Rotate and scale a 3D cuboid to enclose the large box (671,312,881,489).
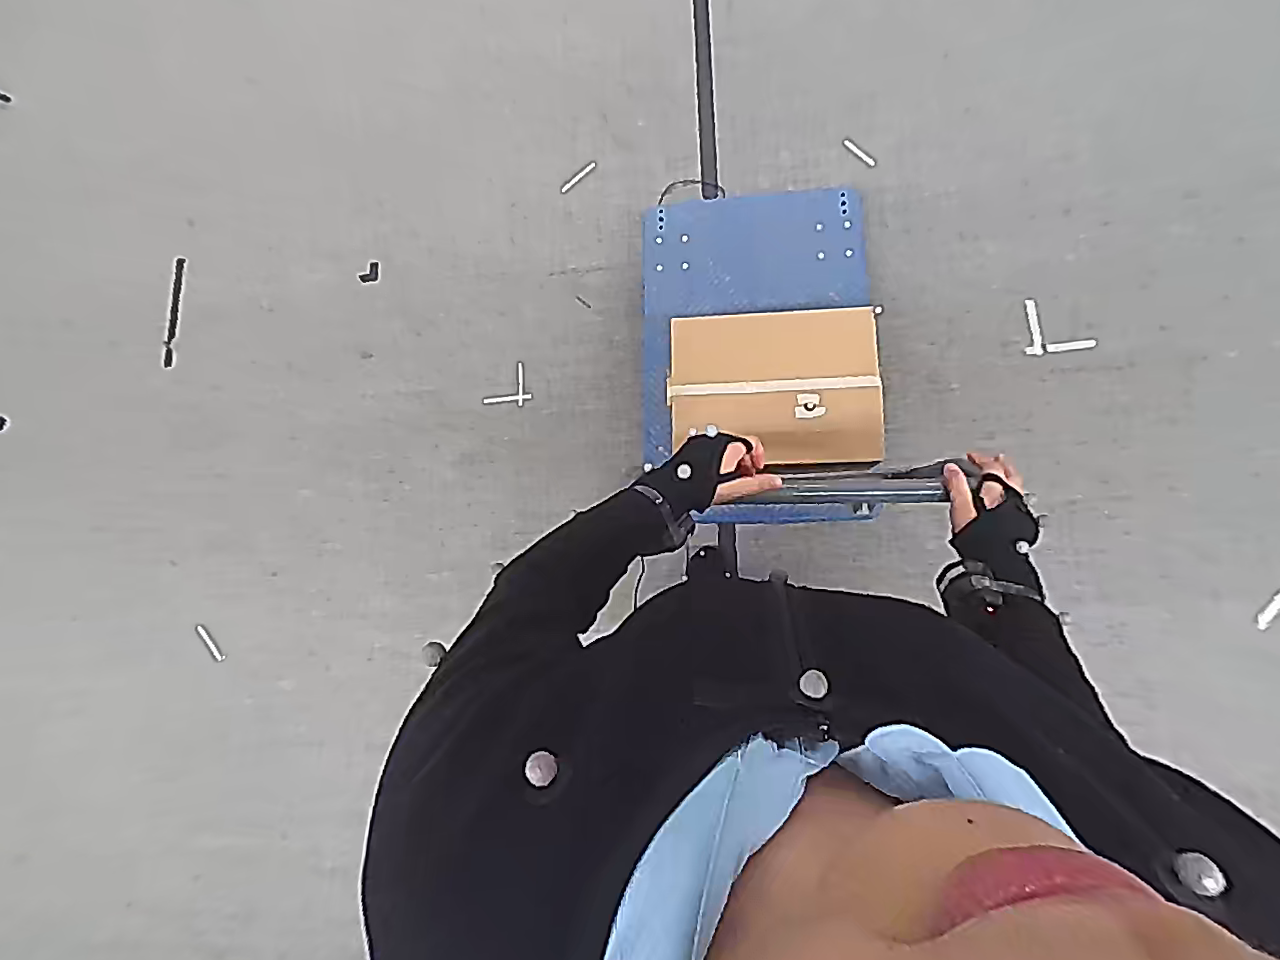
[{"bbox_3d":[0.280,-0.156,1.226,0.408,0.320,0.320,-1,82,6],"label":"large box"}]
